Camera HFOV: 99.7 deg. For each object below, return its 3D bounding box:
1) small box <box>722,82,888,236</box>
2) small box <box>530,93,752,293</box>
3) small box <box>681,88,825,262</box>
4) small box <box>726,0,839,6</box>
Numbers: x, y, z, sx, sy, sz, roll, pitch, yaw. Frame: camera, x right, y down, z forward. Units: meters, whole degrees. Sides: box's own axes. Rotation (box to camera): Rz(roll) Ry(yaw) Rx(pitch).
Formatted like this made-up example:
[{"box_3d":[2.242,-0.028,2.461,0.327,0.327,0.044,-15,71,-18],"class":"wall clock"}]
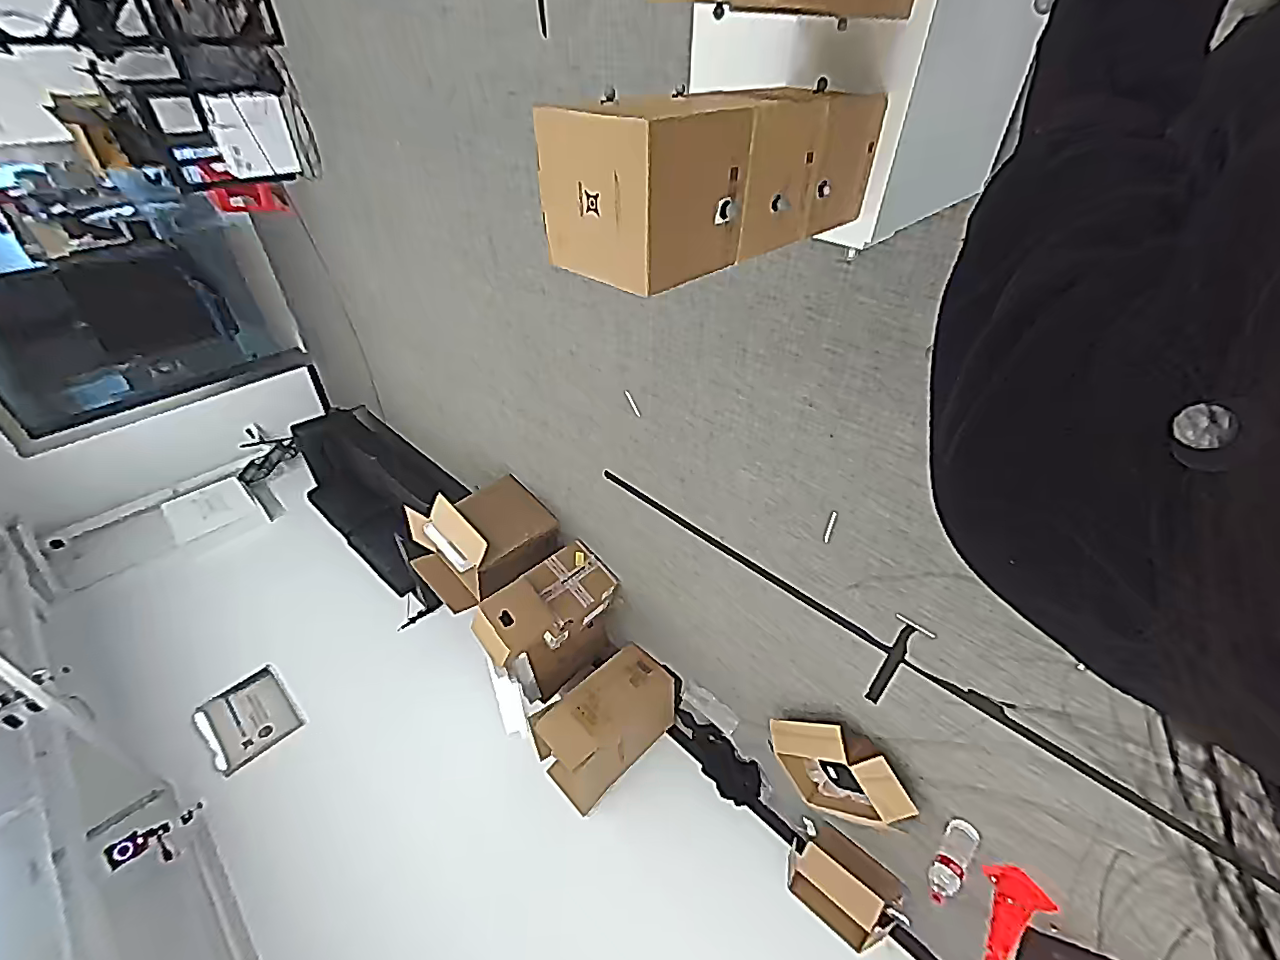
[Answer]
[{"box_3d":[0.228,-0.481,0.801,0.179,0.176,0.168,34,141,32],"class":"small box"},{"box_3d":[0.001,-0.336,0.620,0.179,0.176,0.168,31,139,33],"class":"small box"},{"box_3d":[0.116,-0.408,0.710,0.179,0.176,0.168,32,139,33],"class":"small box"},{"box_3d":[0.123,-0.593,0.545,0.179,0.176,0.168,33,140,30],"class":"small box"}]
